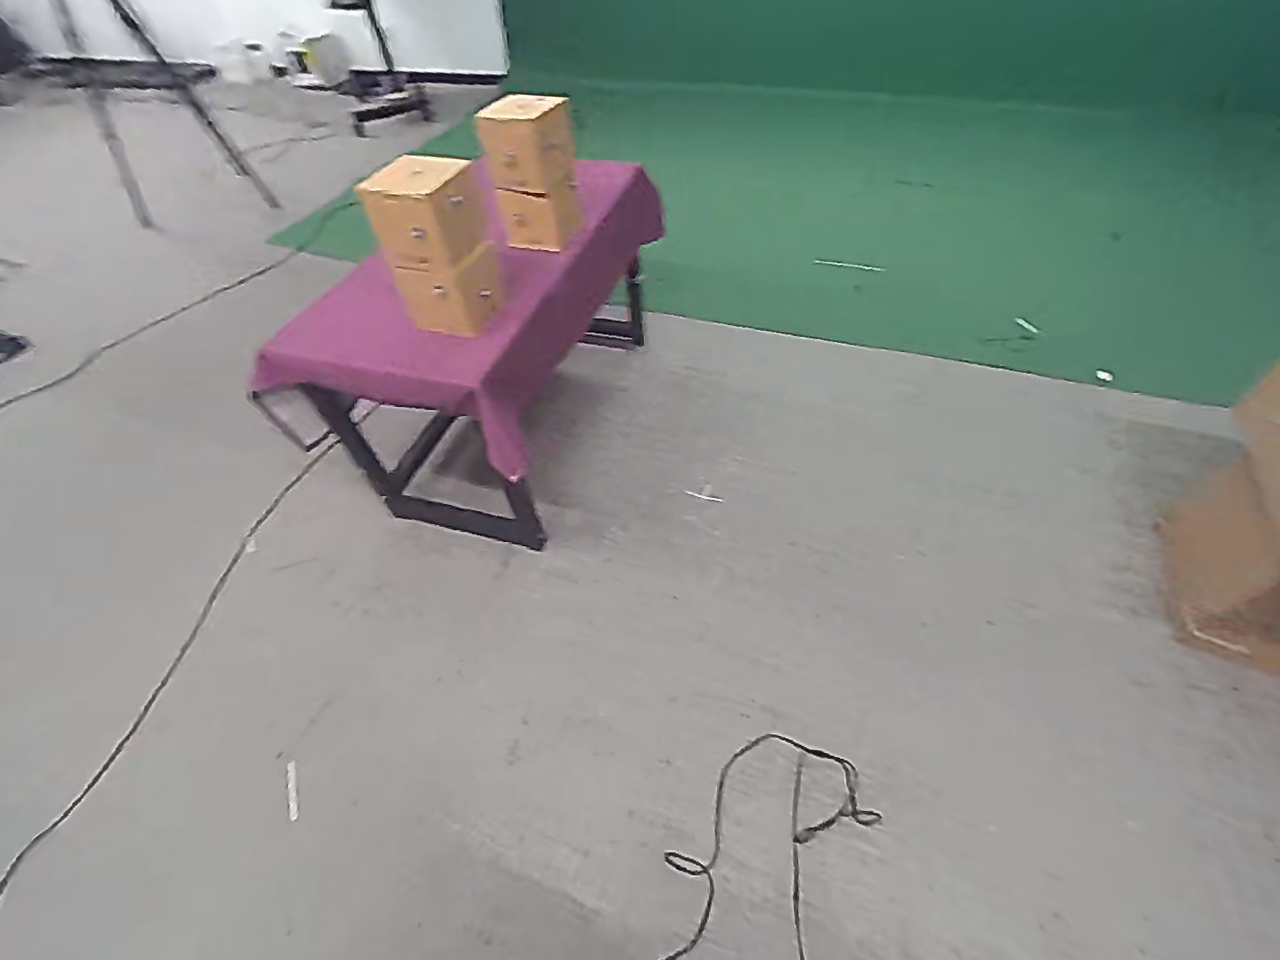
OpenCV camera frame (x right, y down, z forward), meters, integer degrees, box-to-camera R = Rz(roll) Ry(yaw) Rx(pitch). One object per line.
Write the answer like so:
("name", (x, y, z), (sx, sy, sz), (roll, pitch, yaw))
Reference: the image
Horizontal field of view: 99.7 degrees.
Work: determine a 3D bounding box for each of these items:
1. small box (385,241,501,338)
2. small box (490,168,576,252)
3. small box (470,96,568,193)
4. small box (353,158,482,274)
("small box", (-0.457, -0.460, 1.291), (0.179, 0.176, 0.168), (13, 52, 16))
("small box", (-0.294, -0.771, 1.536), (0.168, 0.176, 0.179), (12, 52, 15))
("small box", (-0.304, -0.870, 1.405), (0.168, 0.176, 0.179), (16, 54, 17))
("small box", (-0.467, -0.568, 1.169), (0.168, 0.176, 0.179), (13, 52, 14))
